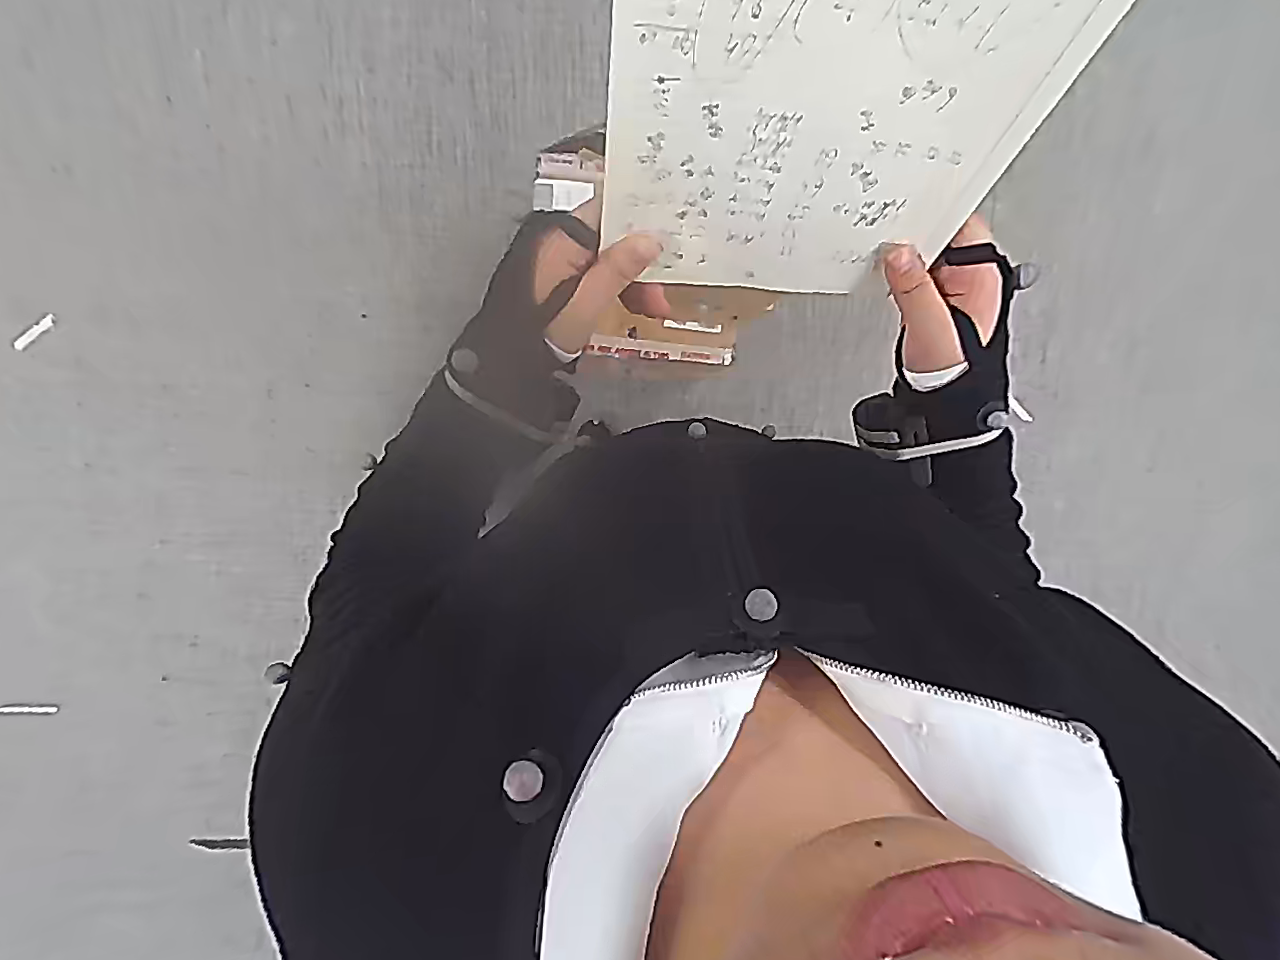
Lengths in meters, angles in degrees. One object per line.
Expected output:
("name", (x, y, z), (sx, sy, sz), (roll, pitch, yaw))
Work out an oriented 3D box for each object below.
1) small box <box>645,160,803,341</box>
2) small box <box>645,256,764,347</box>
("small box", (0.103, -0.302, 0.749), (0.168, 0.176, 0.179), (7, 97, -6))
("small box", (0.109, -0.322, 0.914), (0.179, 0.176, 0.168), (3, 96, -5))
